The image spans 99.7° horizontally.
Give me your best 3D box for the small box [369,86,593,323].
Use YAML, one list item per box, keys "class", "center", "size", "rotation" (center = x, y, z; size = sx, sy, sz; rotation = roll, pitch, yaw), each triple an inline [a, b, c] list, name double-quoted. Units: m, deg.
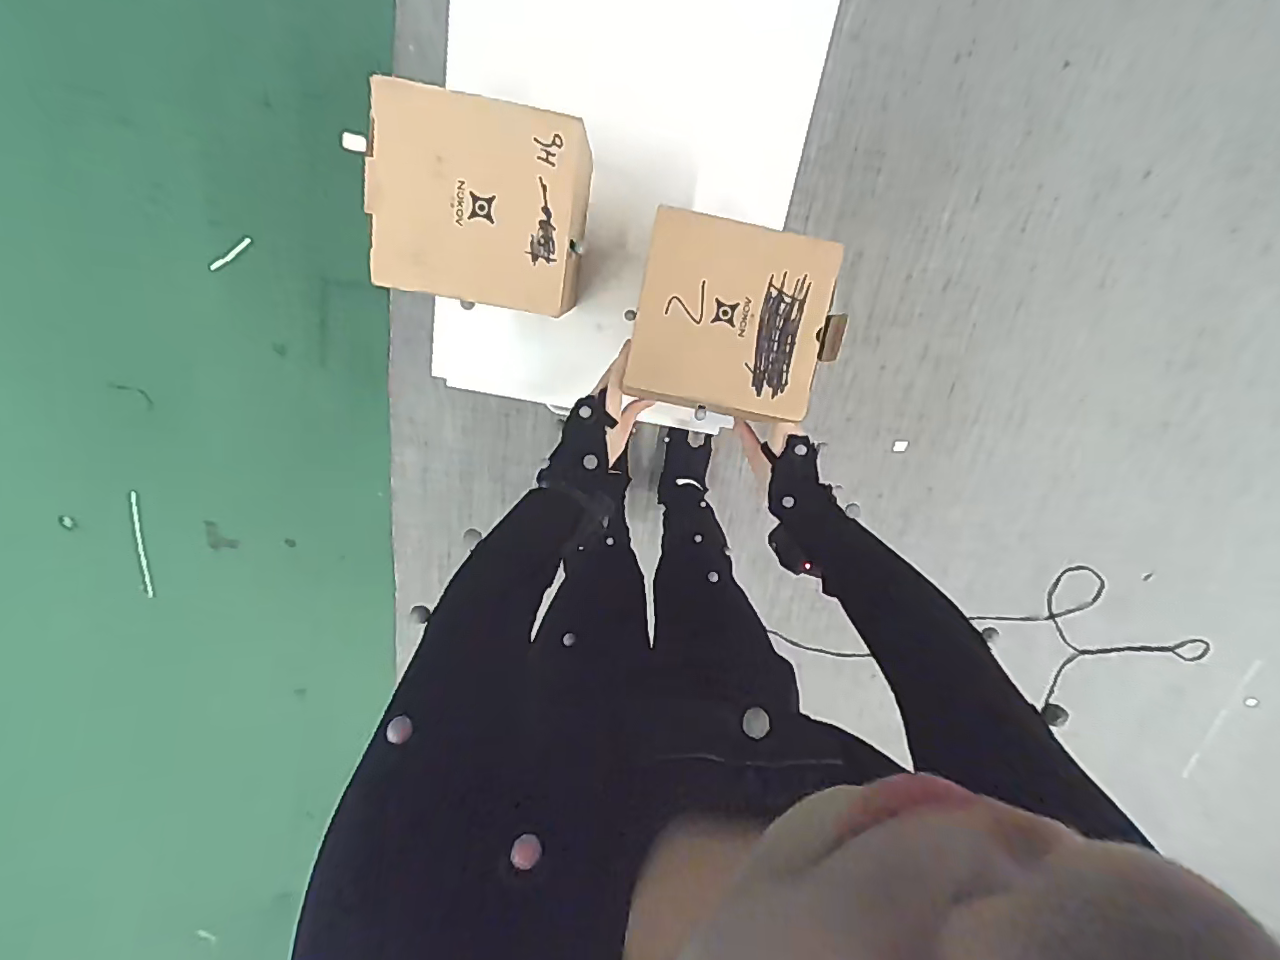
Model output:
- class: "small box"
  center: [-0.149, -0.262, 0.552]
  size: [0.179, 0.176, 0.168]
  rotation: [9, 109, -5]
